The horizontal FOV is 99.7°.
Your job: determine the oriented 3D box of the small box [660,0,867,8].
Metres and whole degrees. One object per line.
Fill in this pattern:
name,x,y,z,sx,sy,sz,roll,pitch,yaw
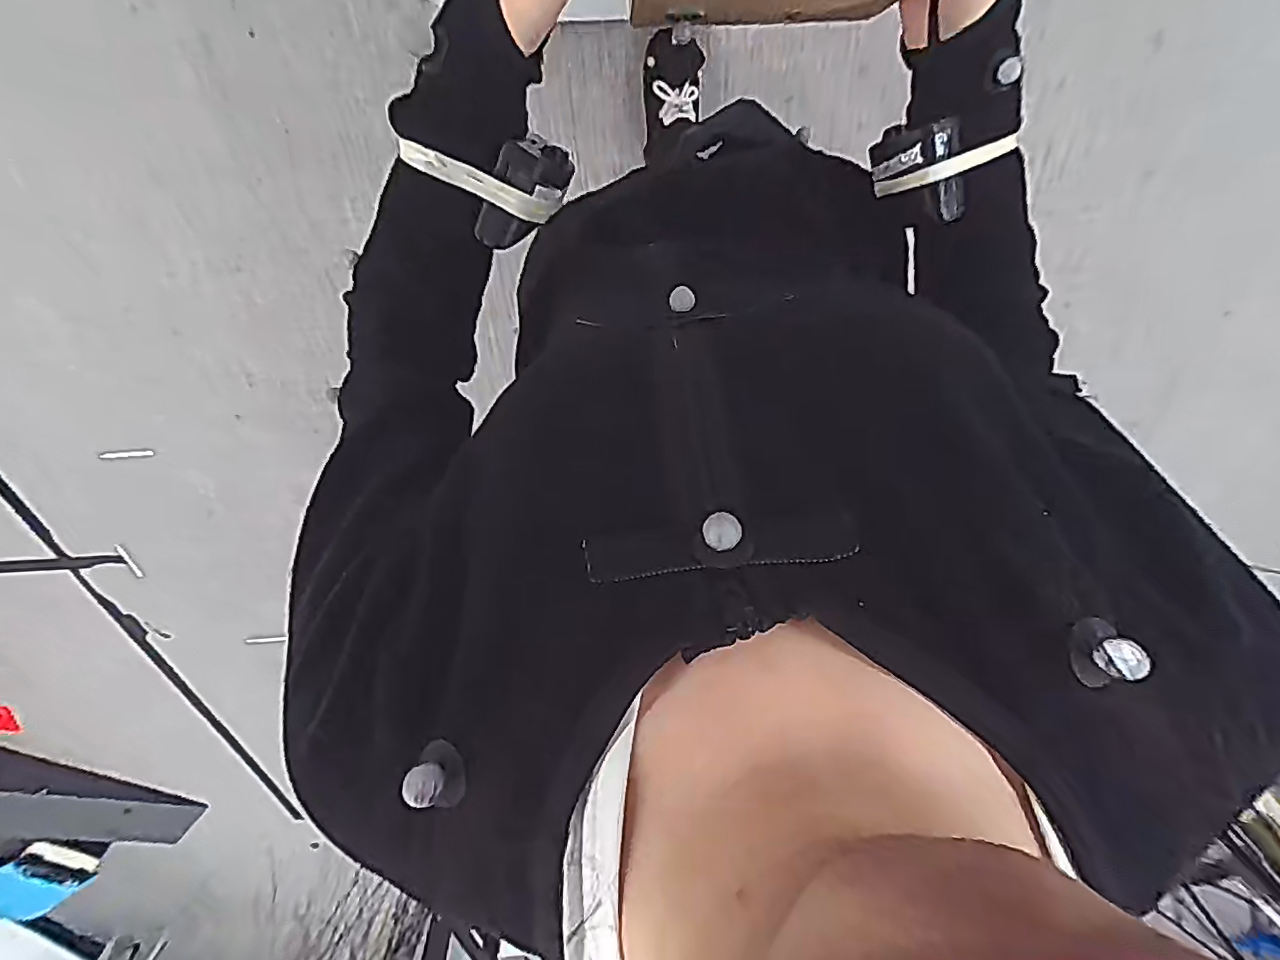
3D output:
small box,0.077,-0.351,0.252,0.168,0.176,0.179,-4,117,-2
